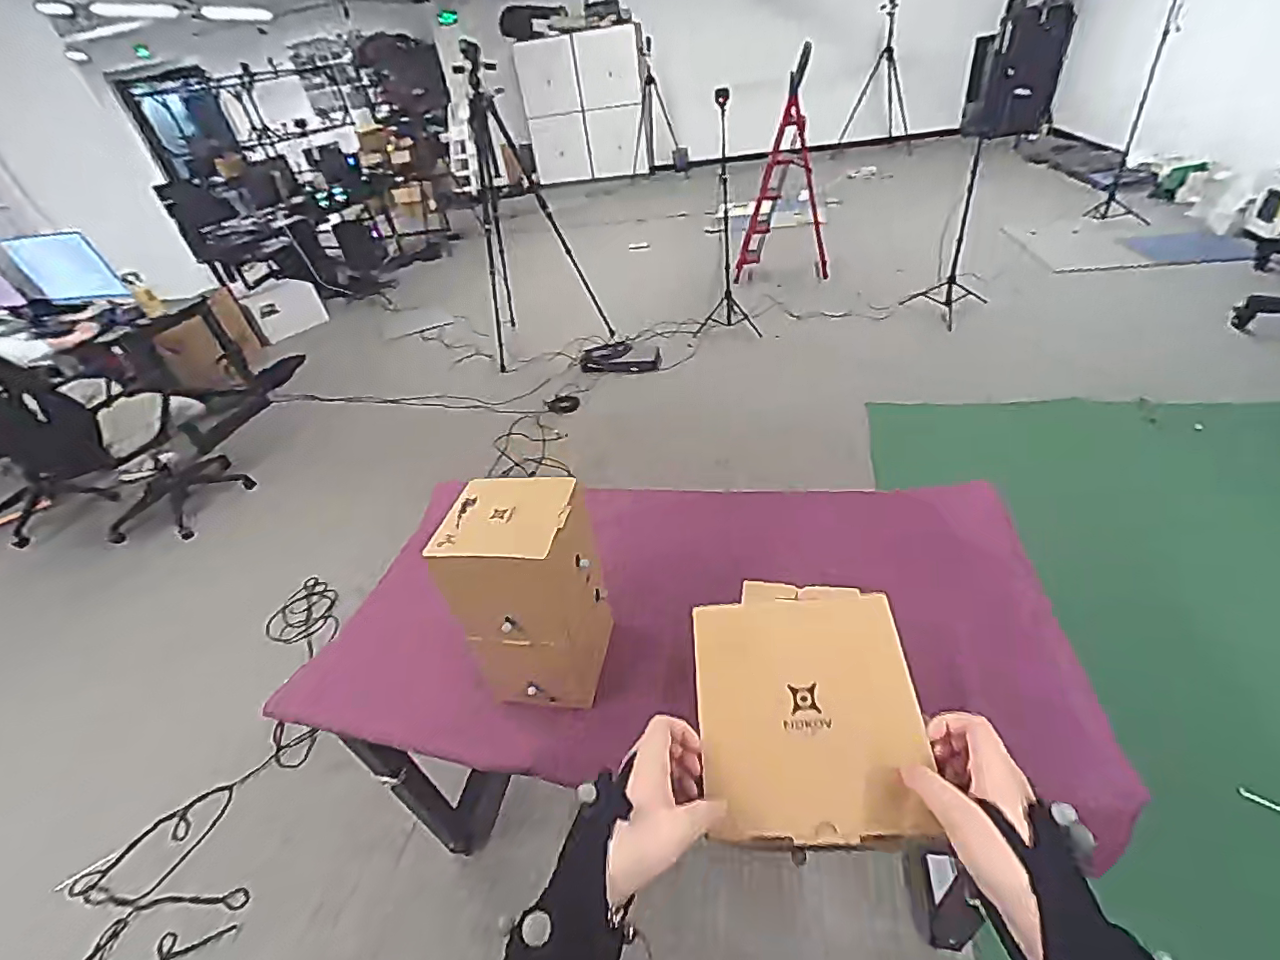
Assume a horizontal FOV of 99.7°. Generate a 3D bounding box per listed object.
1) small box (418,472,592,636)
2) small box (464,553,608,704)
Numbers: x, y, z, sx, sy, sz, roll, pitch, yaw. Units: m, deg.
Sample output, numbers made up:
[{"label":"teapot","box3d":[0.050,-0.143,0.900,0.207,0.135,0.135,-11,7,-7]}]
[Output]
[{"label":"small box","box3d":[-0.178,0.106,0.782,0.179,0.176,0.168,1,37,12]},{"label":"small box","box3d":[-0.155,0.234,0.882,0.168,0.176,0.179,0,38,13]}]
